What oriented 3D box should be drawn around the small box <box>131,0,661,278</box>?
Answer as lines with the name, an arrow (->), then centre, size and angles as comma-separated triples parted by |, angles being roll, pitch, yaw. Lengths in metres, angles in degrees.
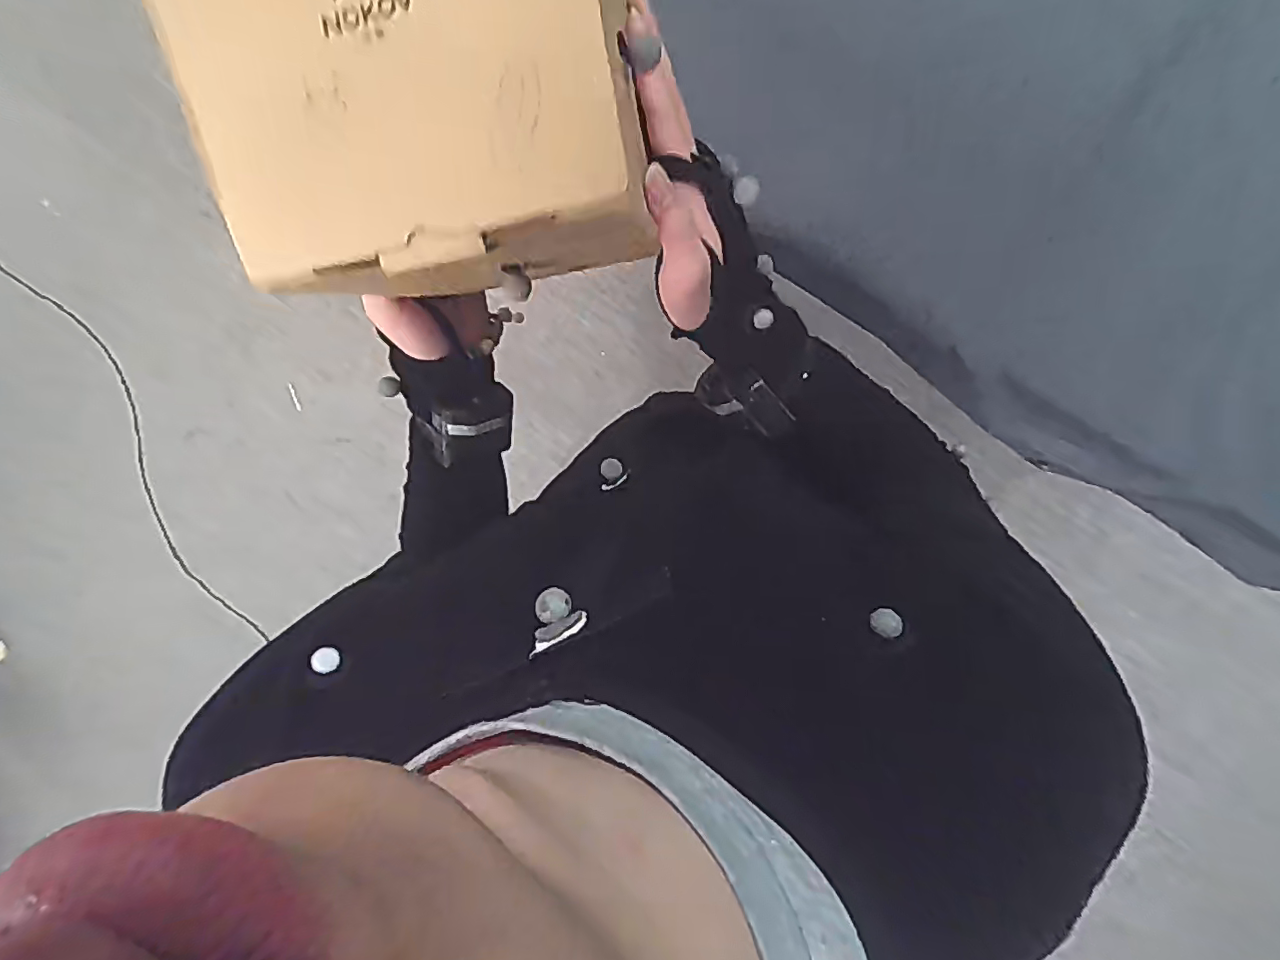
small box -> -0.086, -0.198, 0.253 | 0.168, 0.176, 0.179 | -8, 106, 8
